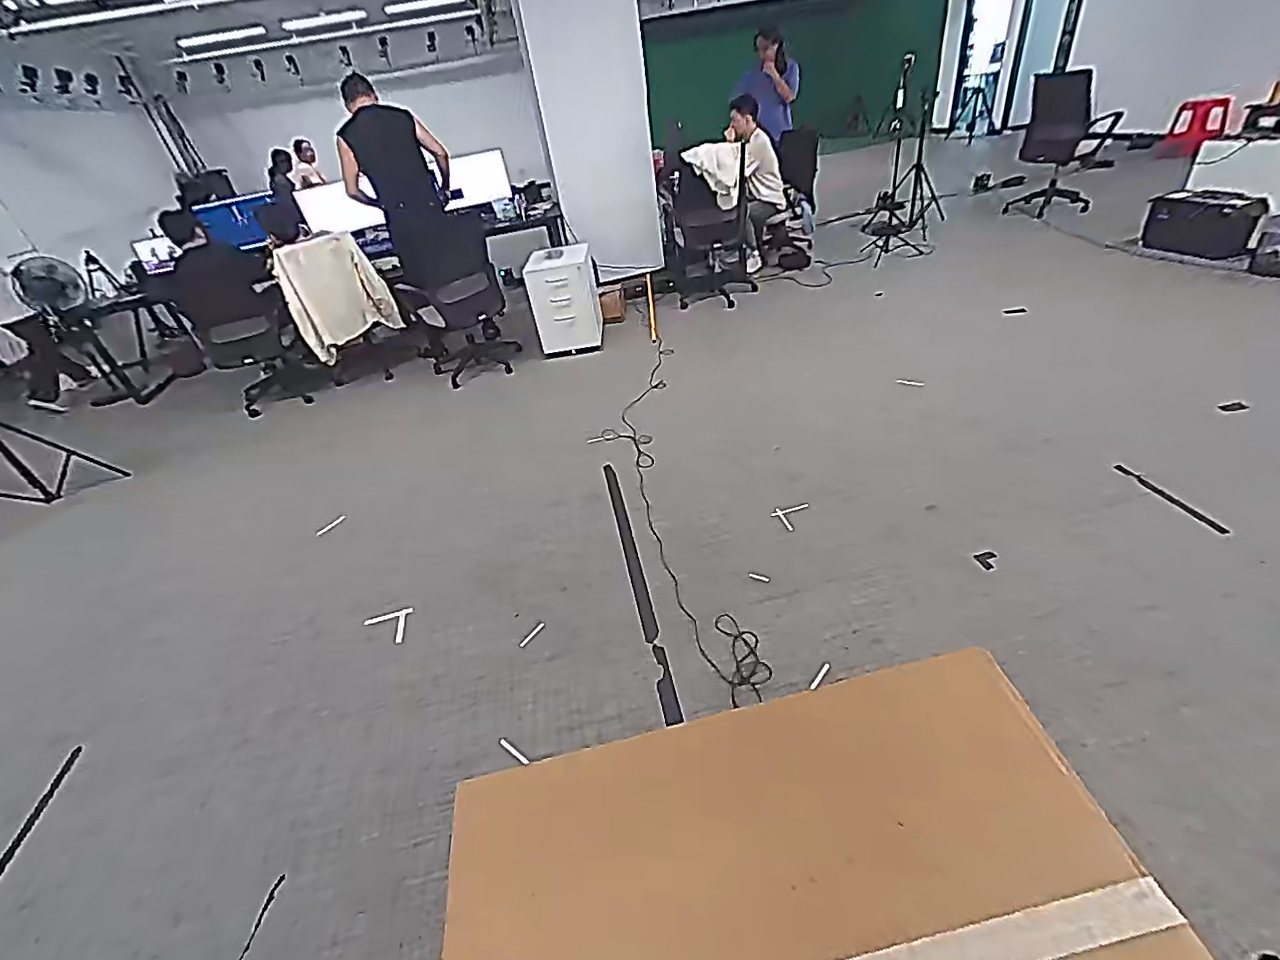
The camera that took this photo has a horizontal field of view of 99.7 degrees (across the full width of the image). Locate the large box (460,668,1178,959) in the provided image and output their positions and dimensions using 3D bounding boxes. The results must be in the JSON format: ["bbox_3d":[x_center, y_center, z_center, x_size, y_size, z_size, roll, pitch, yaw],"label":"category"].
[{"bbox_3d":[0.118,0.396,0.395,0.408,0.320,0.320,-15,42,0],"label":"large box"}]
